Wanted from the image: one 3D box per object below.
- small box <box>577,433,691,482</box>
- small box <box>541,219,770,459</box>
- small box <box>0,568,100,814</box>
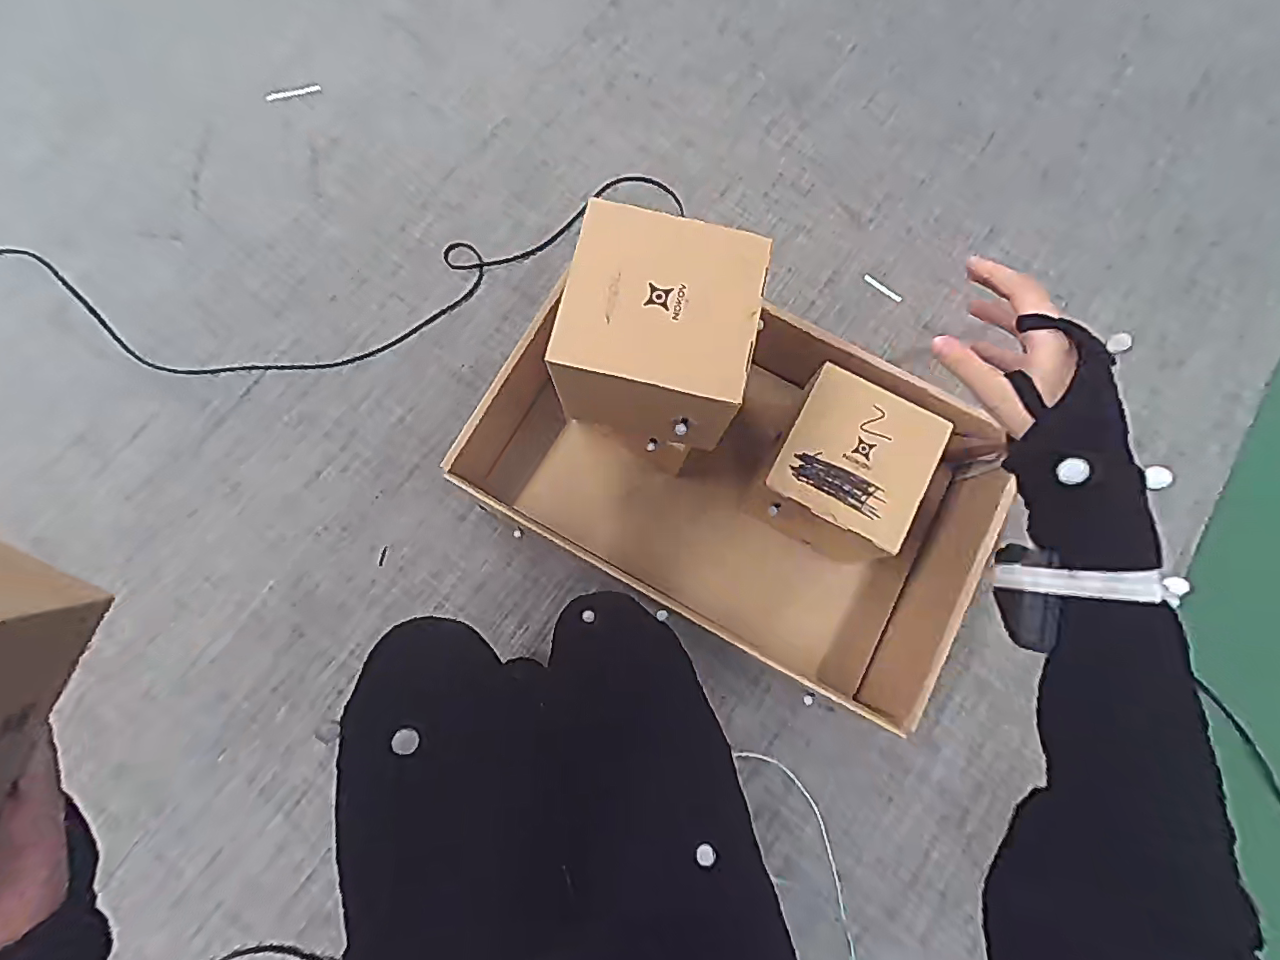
[{"bbox_3d":[0.014,-0.114,0.723,0.179,0.176,0.168,30,80,4],"label":"small box"},{"bbox_3d":[0.015,-0.129,0.560,0.179,0.176,0.168,13,79,2],"label":"small box"},{"bbox_3d":[-0.373,0.099,0.184,0.179,0.176,0.168,28,87,-4],"label":"small box"}]
